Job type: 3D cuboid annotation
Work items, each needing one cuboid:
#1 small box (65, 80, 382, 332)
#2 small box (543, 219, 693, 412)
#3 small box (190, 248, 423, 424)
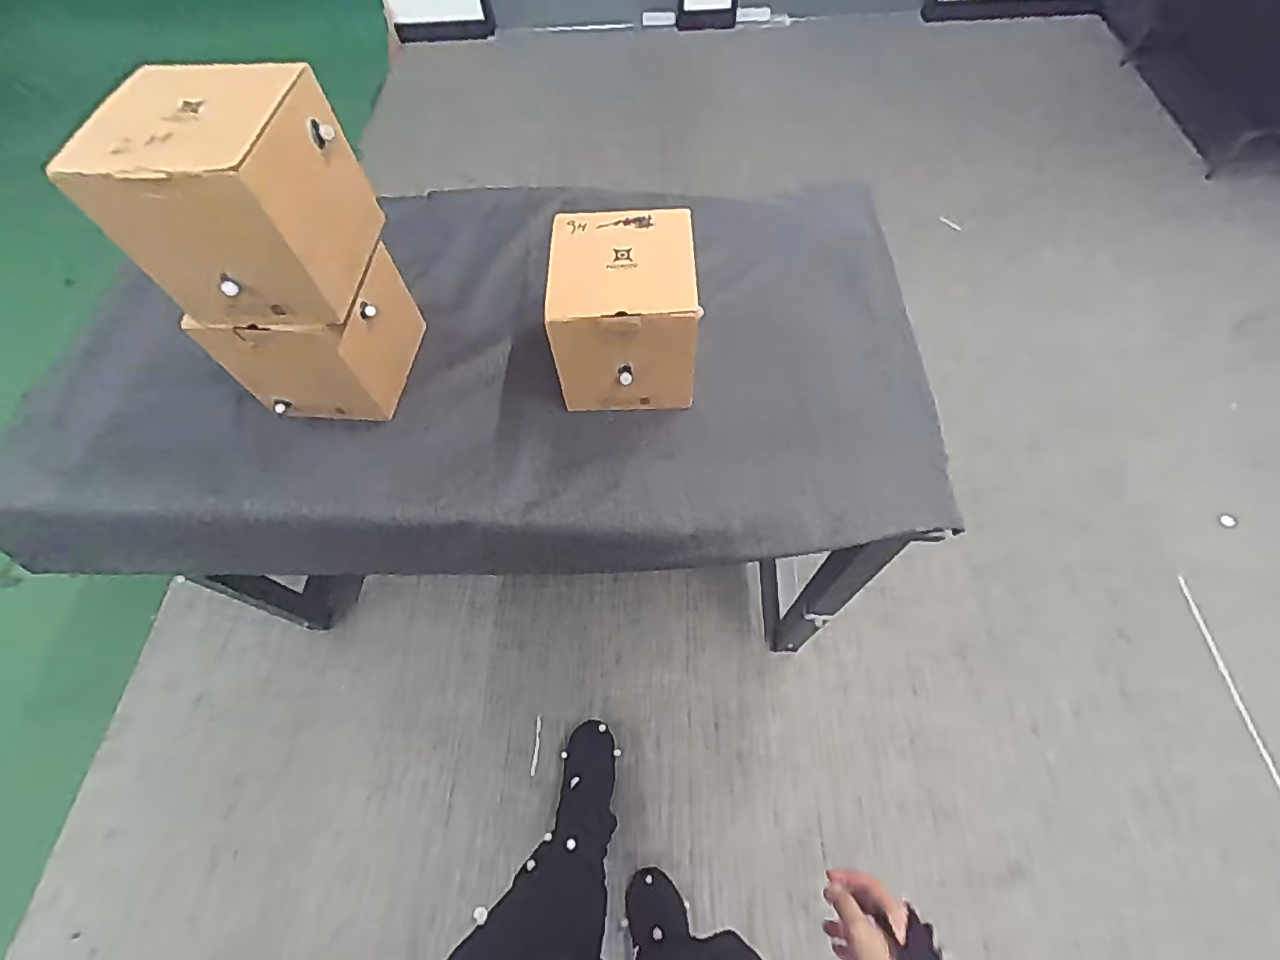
[{"bbox_3d":[-0.396,-0.277,0.559,0.168,0.176,0.179,1,60,3],"label":"small box"},{"bbox_3d":[-0.019,-0.199,0.687,0.168,0.176,0.179,-1,61,2],"label":"small box"},{"bbox_3d":[-0.405,-0.189,0.699,0.168,0.176,0.179,4,60,4],"label":"small box"}]
